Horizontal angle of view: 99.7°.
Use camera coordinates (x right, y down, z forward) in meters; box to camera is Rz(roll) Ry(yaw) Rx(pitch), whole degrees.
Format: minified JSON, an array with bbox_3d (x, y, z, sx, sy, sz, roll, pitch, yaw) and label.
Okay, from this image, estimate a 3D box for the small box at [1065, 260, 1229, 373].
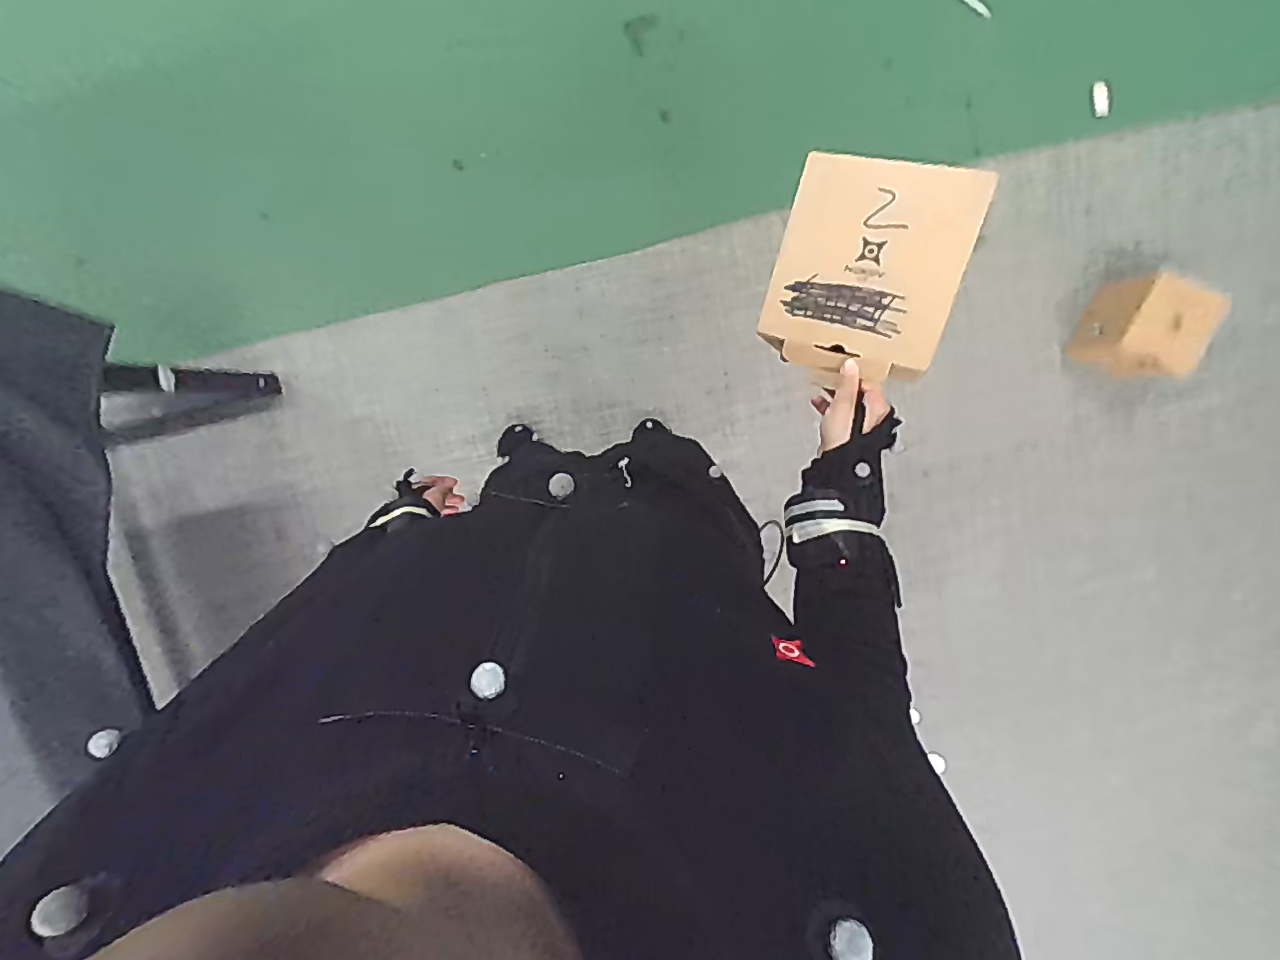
[{"bbox_3d":[1.090,-0.345,1.184,0.168,0.176,0.179,23,97,-2],"label":"small box"}]
